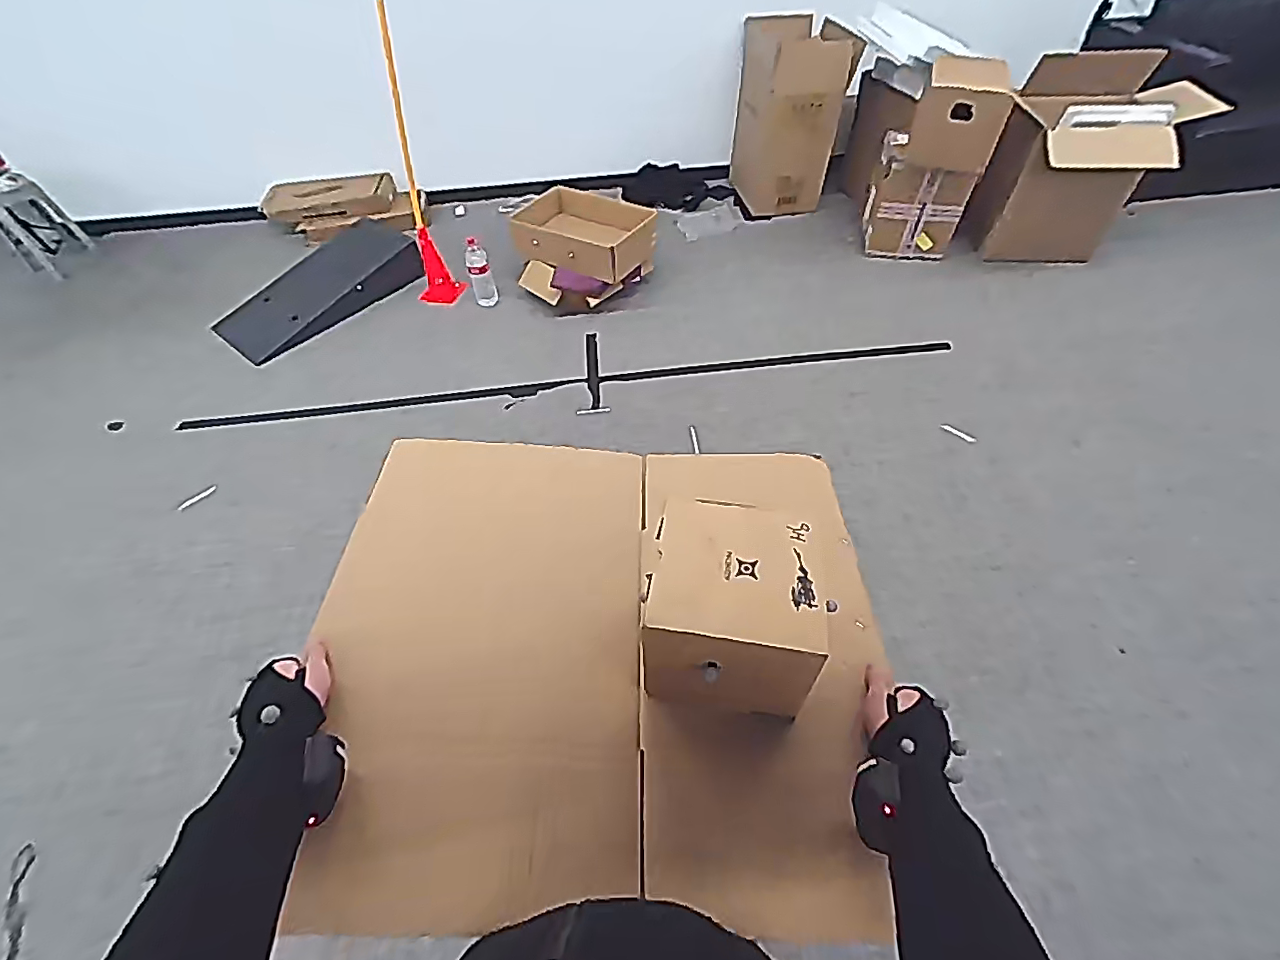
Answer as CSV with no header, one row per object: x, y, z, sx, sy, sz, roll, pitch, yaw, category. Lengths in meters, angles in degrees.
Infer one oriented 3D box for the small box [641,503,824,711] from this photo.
0.104,0.148,0.623,0.179,0.176,0.168,6,49,9,small box
